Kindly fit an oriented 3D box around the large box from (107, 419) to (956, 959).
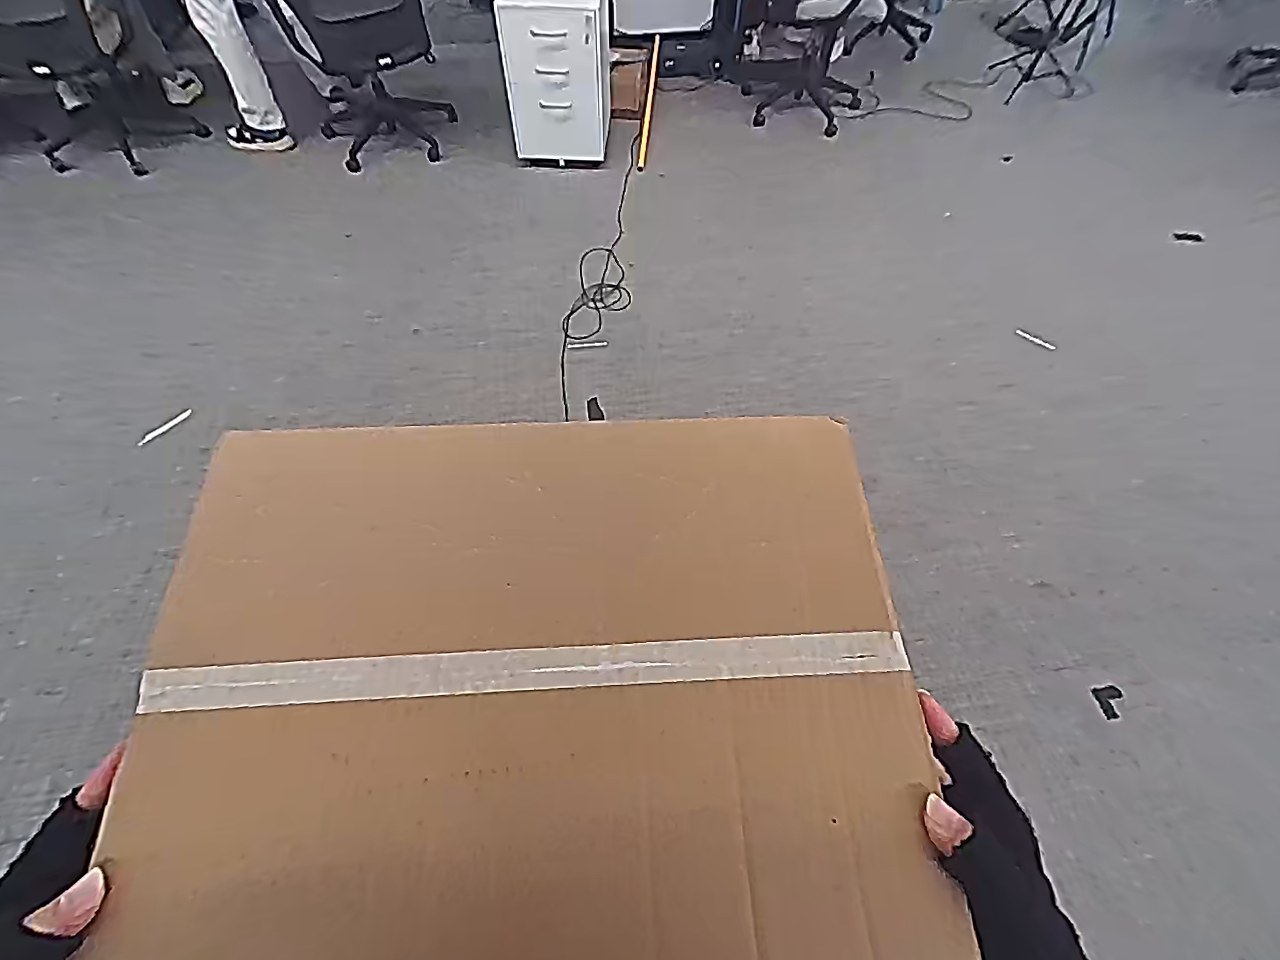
[{"bbox_3d":[-0.059,0.166,0.444,0.408,0.320,0.320,-2,66,-3],"label":"large box"}]
